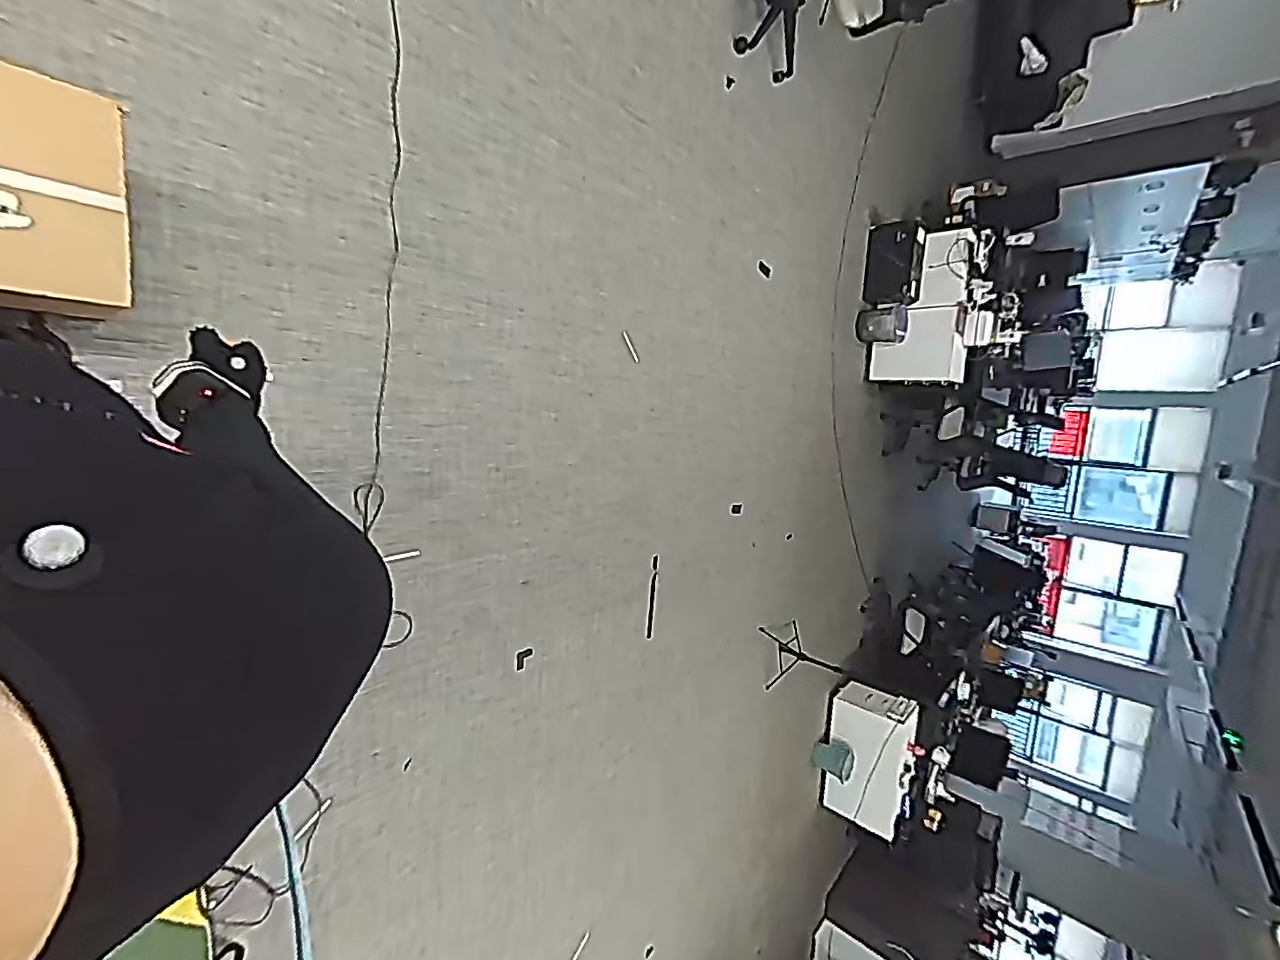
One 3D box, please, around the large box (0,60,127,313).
[{"bbox_3d":[-1.072,-0.449,0.806,0.408,0.320,0.320,-5,102,-50],"label":"large box"}]
